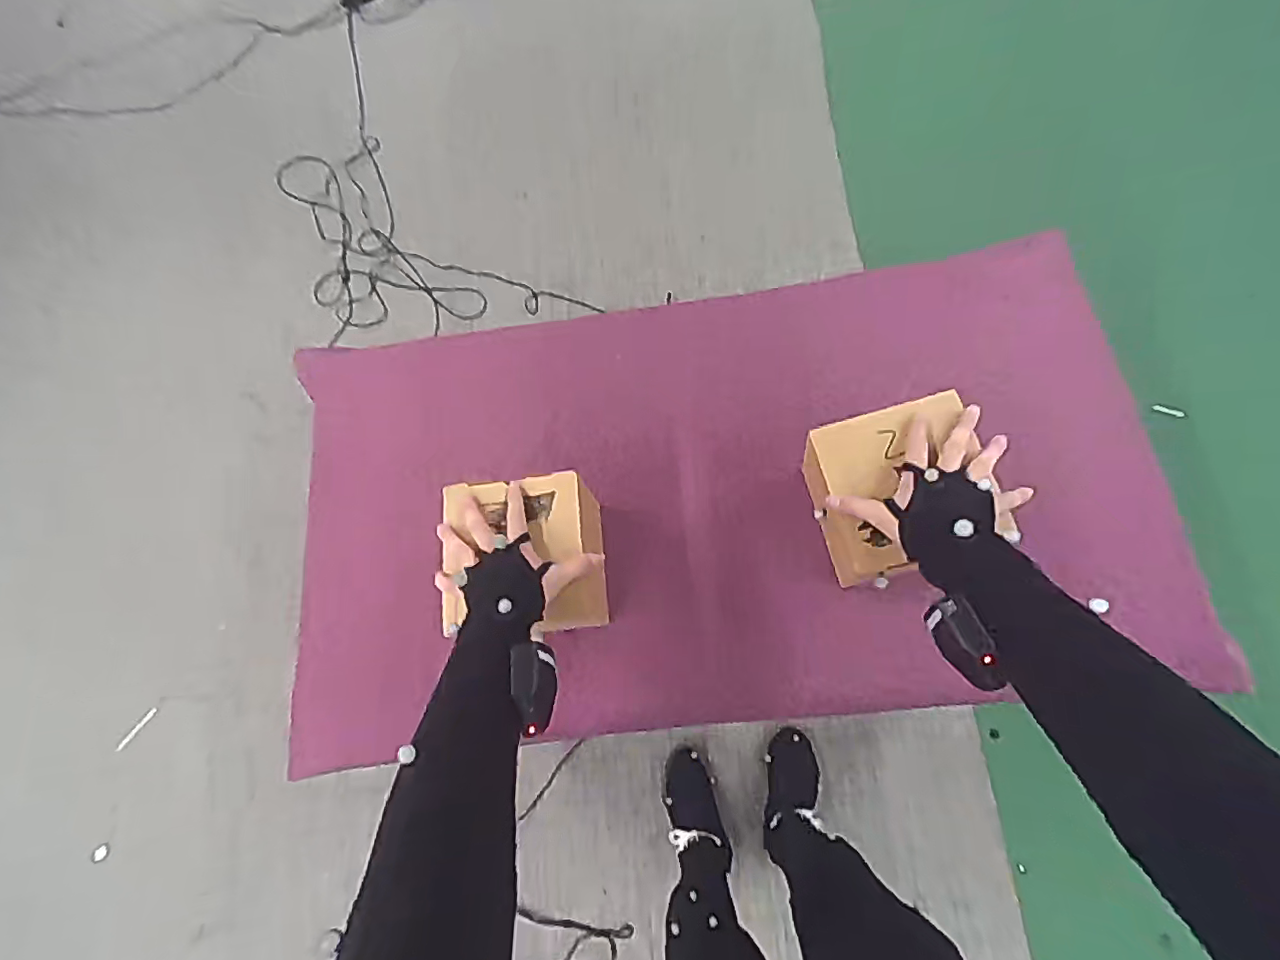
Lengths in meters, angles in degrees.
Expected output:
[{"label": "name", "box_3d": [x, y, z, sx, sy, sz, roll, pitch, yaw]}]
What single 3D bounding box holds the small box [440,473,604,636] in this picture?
[{"label": "small box", "box_3d": [-0.143, 0.105, 0.701, 0.168, 0.176, 0.179, -7, 74, 3]}]
